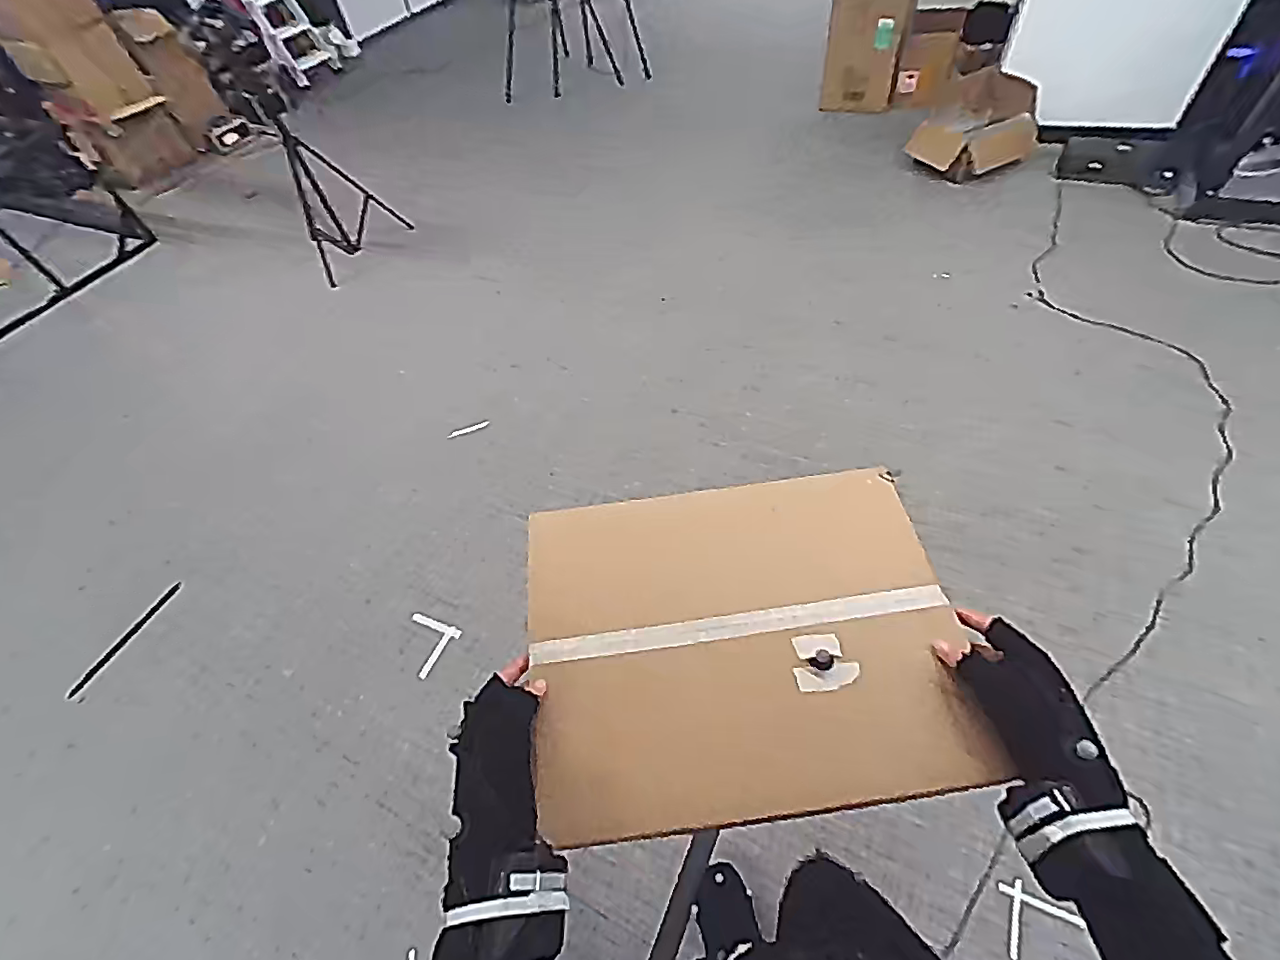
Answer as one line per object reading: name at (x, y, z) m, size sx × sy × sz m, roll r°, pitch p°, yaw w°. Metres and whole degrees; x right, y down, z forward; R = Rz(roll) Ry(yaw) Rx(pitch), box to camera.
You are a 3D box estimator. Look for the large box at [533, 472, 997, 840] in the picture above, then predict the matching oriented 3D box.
large box at (0.100, 0.226, 0.662) m, size 0.408 × 0.320 × 0.320 m, roll -8°, pitch 56°, yaw -1°
